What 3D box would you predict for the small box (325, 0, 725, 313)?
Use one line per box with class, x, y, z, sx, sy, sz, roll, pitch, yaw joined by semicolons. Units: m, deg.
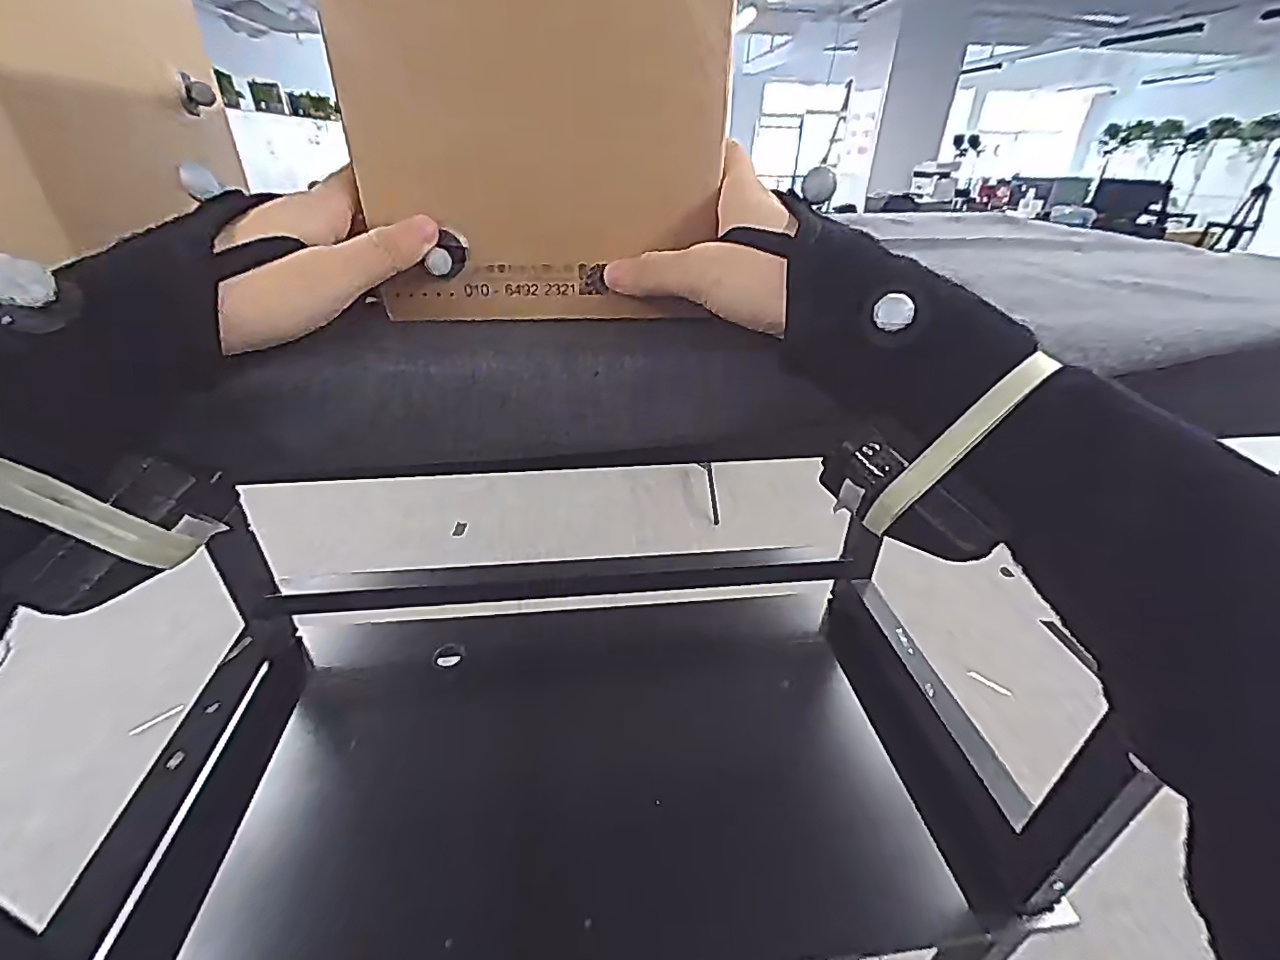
small box;-0.050;-0.195;0.307;0.168;0.176;0.179;-2;29;-6
